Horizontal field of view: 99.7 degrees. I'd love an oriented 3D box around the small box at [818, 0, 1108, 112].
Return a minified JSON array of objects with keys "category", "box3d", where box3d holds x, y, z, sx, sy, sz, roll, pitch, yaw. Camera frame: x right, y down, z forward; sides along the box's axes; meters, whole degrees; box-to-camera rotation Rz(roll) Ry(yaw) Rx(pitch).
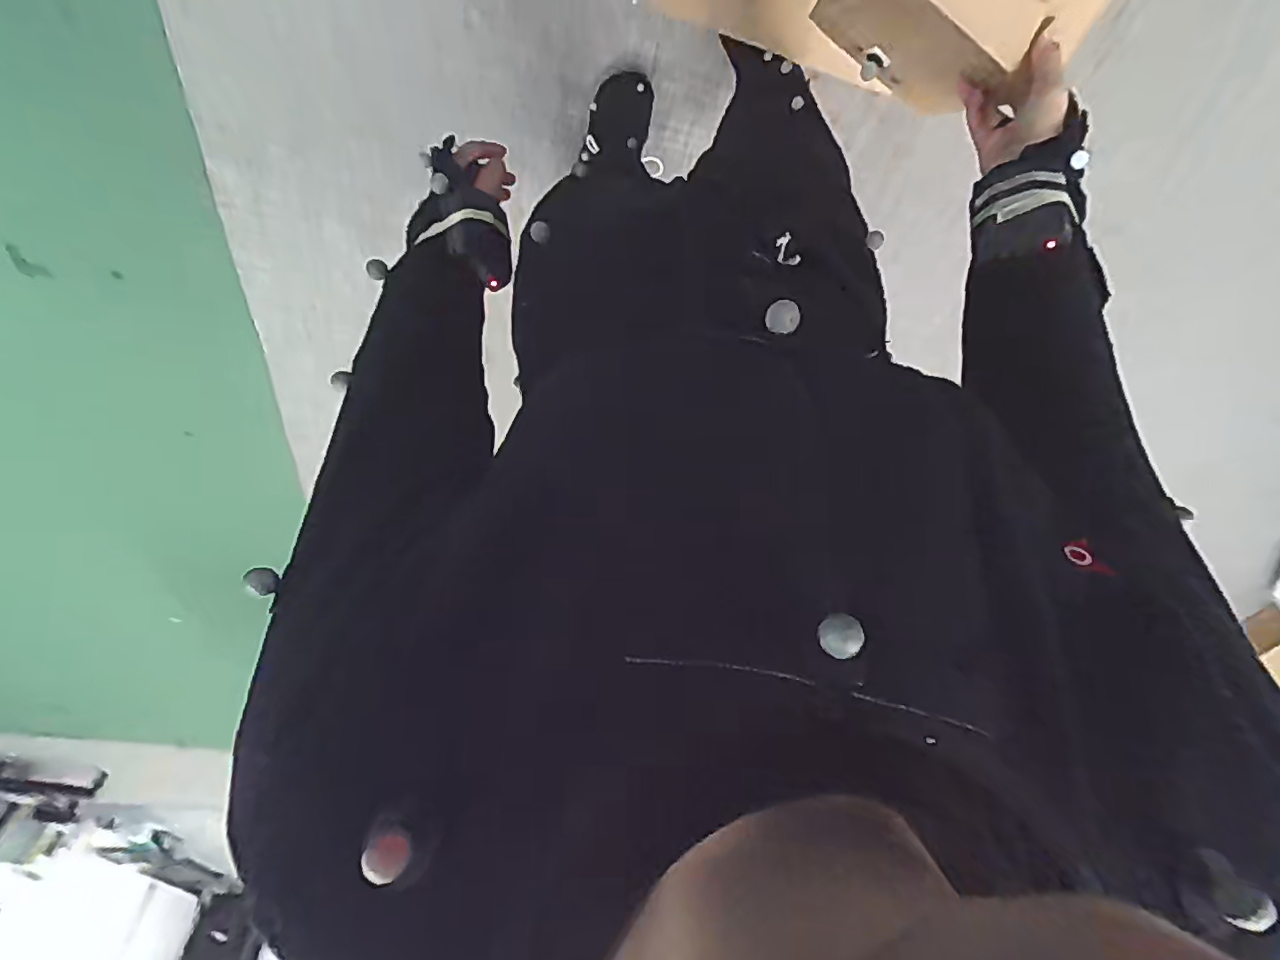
[{"category":"small box","box3d":[0.282,-0.447,0.452,0.168,0.176,0.179,21,114,-19]}]
